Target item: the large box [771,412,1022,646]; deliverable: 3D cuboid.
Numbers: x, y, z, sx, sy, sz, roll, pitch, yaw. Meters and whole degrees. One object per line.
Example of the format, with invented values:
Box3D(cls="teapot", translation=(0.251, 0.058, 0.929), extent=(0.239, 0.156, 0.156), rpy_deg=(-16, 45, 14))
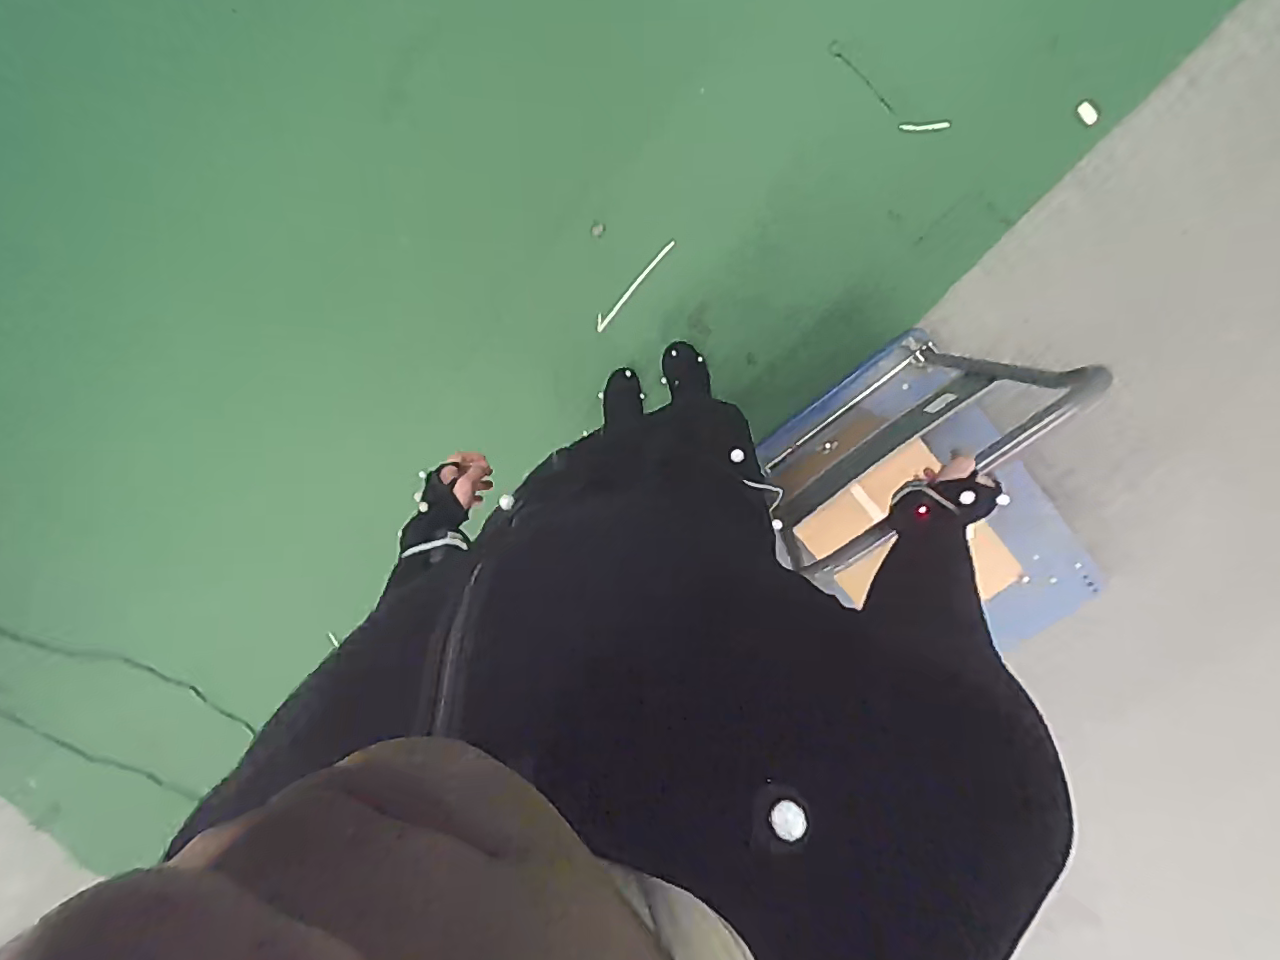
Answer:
Box3D(cls="large box", translation=(0.575, 0.096, 1.291), extent=(0.320, 0.320, 0.408), rpy_deg=(-40, 98, 14))
